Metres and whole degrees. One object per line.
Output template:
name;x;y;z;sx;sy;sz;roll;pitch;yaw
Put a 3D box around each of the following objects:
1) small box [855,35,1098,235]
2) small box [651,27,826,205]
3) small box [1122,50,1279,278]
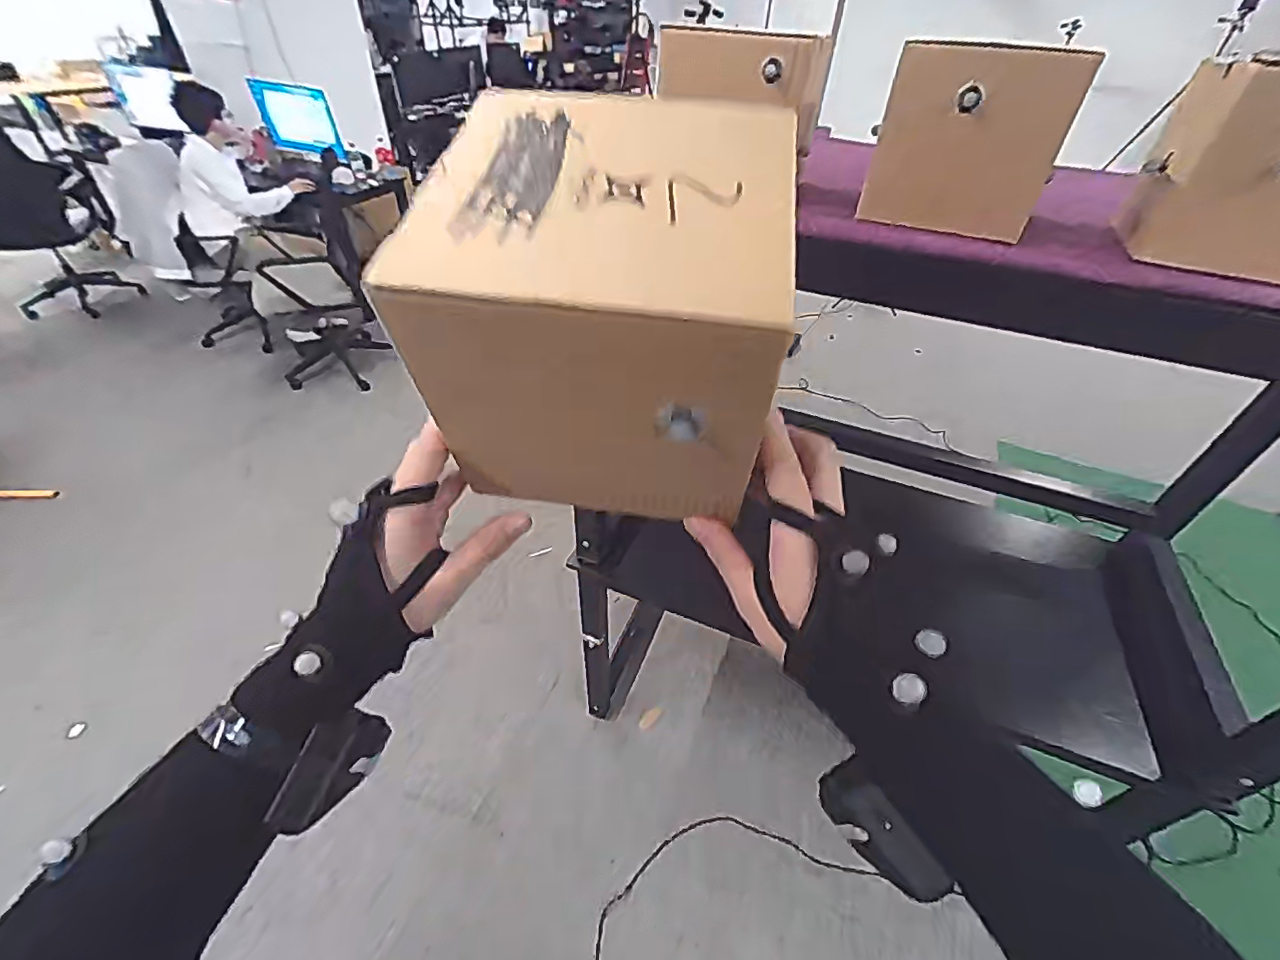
small box;0.362;-0.392;0.613;0.179;0.176;0.168;19;44;18
small box;0.120;-0.462;0.686;0.179;0.176;0.168;15;43;14
small box;0.622;-0.311;0.531;0.179;0.176;0.168;18;44;19
